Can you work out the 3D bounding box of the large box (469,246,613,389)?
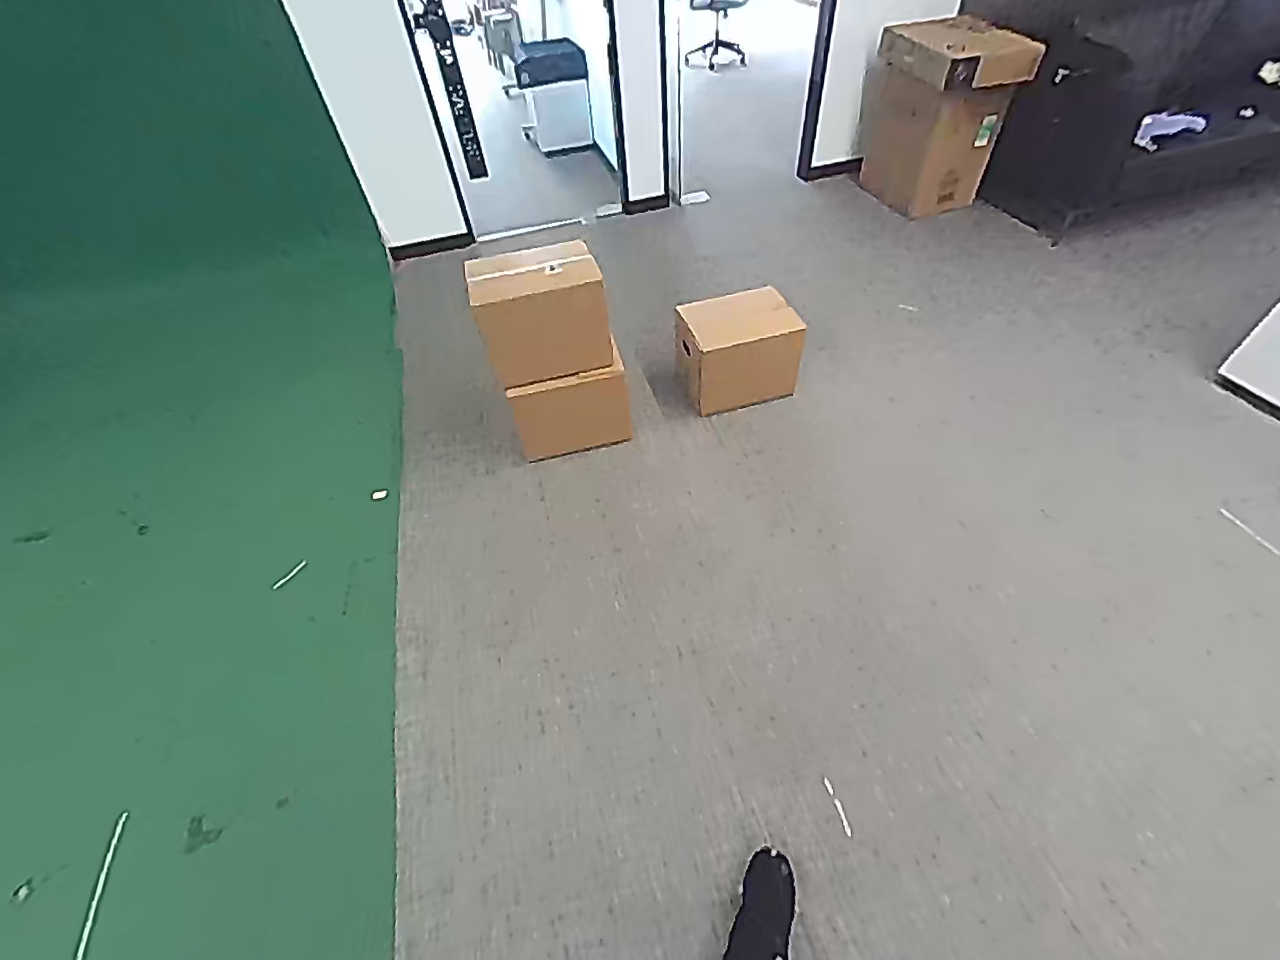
[{"bbox_3d":[-0.328,-0.544,1.808,0.408,0.320,0.320,-13,46,-8],"label":"large box"}]
